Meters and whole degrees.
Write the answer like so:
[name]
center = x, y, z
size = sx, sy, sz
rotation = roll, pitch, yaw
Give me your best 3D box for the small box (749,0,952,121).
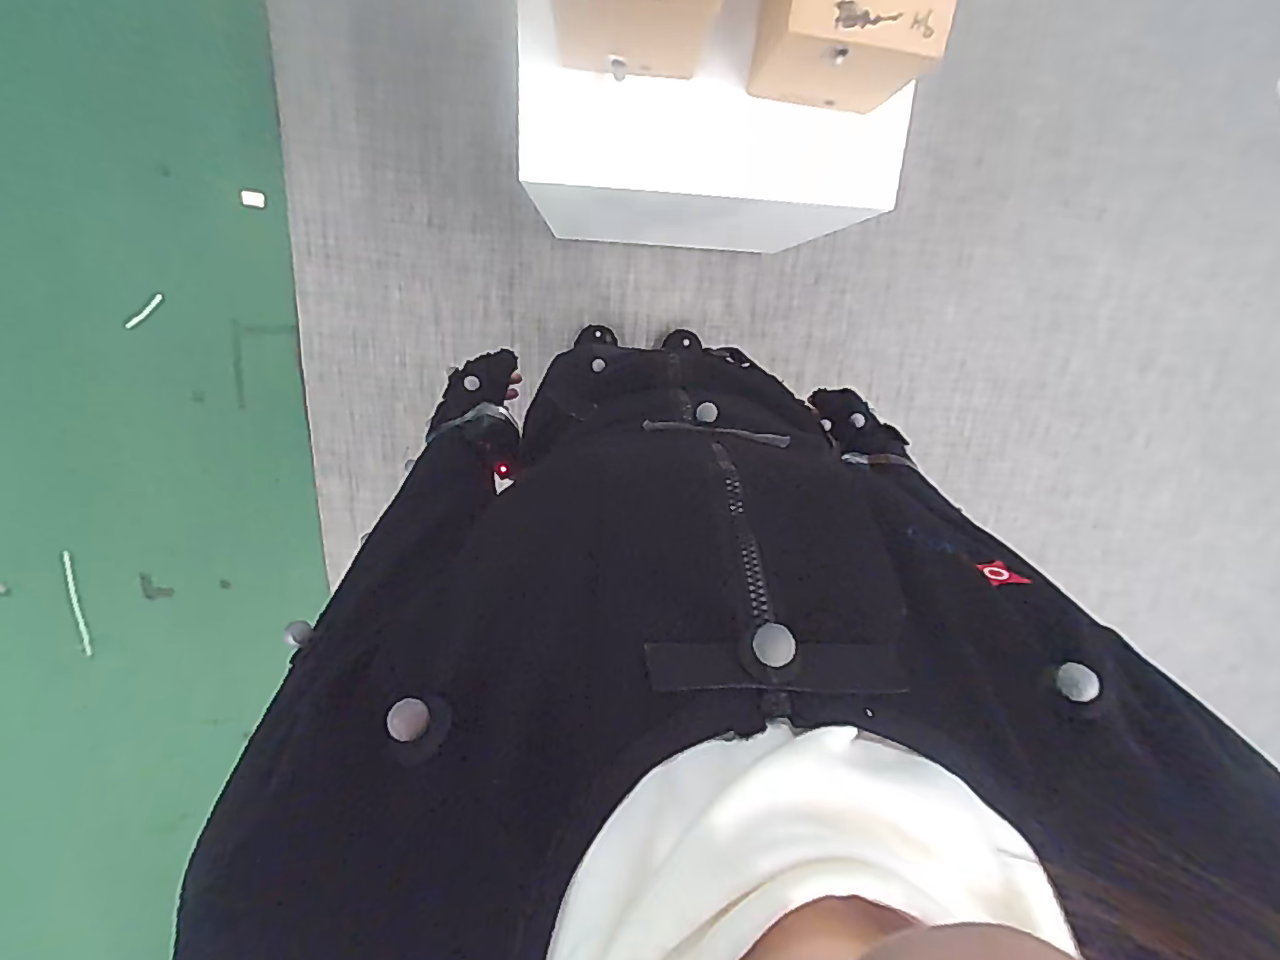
[small box]
center = 0.230, -0.540, 0.602
size = 0.168, 0.176, 0.179
rotation = 6, 106, -5
